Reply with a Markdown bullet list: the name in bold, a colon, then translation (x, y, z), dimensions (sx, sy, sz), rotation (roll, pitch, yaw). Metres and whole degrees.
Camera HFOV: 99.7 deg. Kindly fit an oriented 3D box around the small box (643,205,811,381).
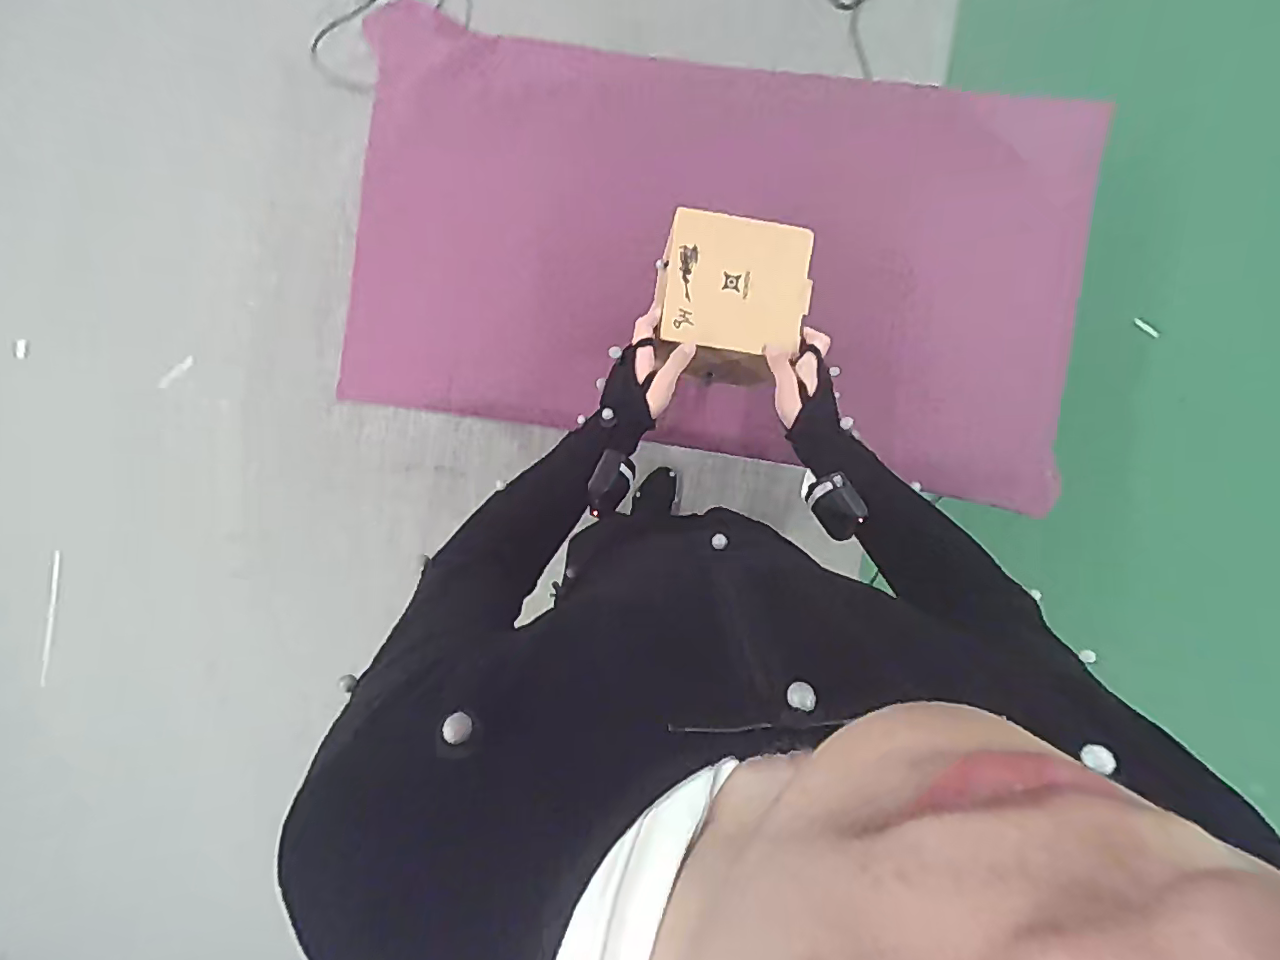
- **small box**: translation (0.107, -0.239, 0.737), dimensions (0.179, 0.176, 0.168), rotation (8, 88, -5)
